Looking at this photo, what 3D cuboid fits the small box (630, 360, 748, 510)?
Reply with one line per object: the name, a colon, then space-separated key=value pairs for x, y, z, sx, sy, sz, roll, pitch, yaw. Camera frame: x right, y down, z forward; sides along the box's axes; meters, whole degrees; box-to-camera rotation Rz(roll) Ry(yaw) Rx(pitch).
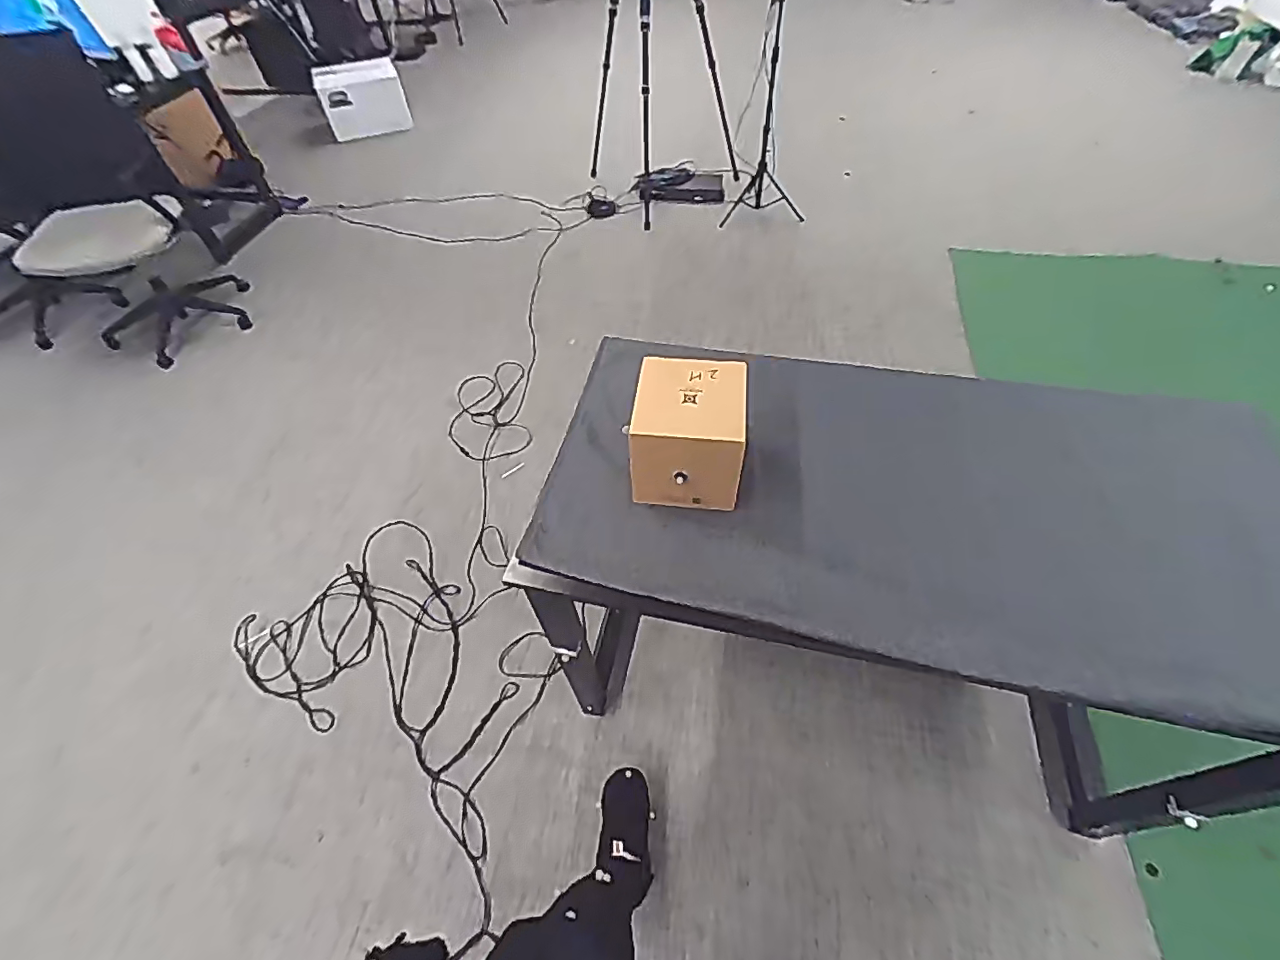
small box: x=0.081 y=-0.070 z=0.869 sx=0.168 sy=0.176 sz=0.179 roll=5 pitch=51 yaw=6
